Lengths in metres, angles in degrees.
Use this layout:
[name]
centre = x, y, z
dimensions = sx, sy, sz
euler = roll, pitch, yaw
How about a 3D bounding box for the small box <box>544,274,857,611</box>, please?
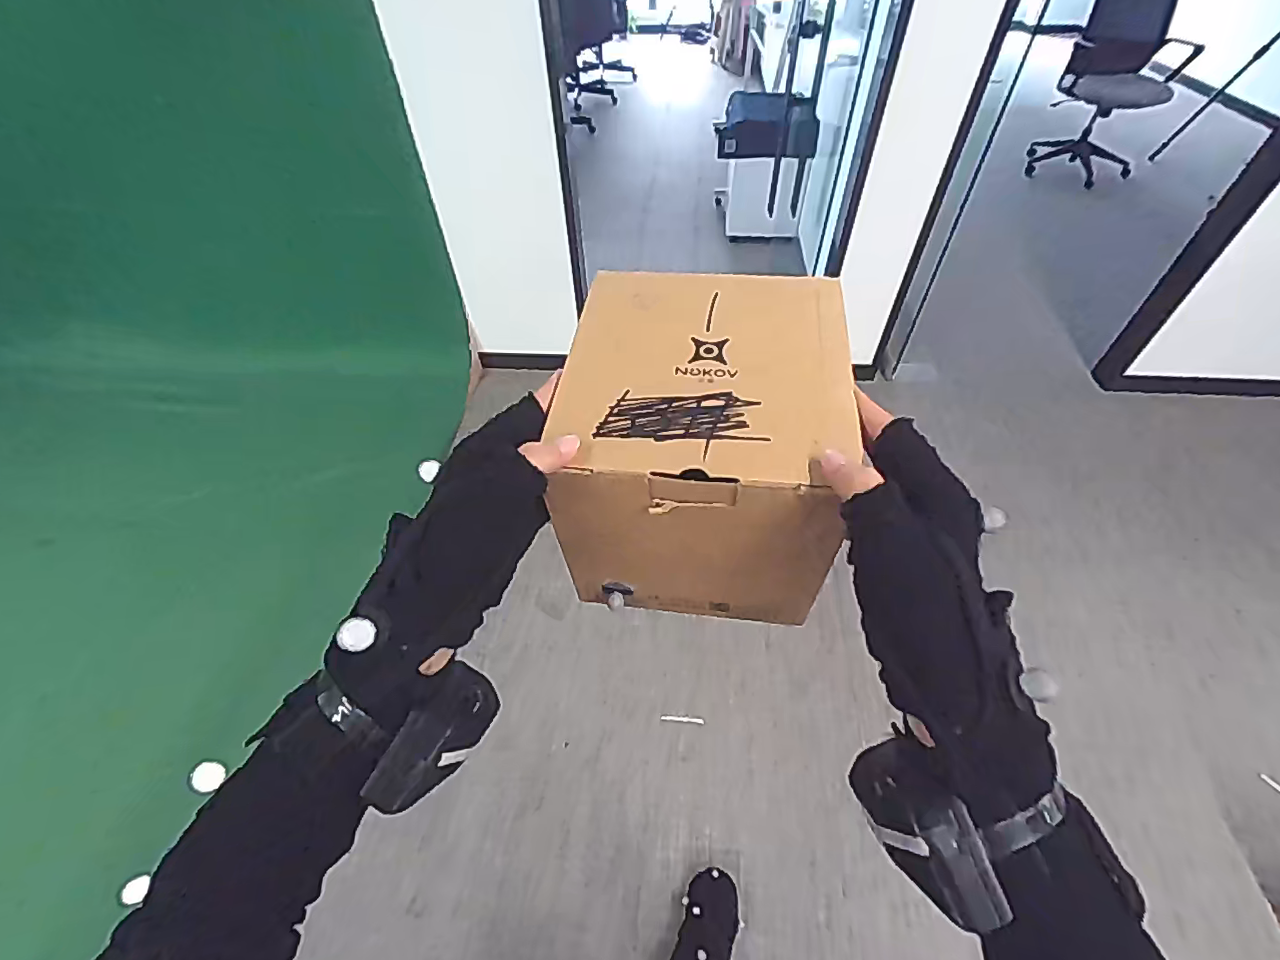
[small box]
centre = 0.046, -0.023, 0.388
dimensions = 0.168, 0.176, 0.179
euler = 5, 53, 8
